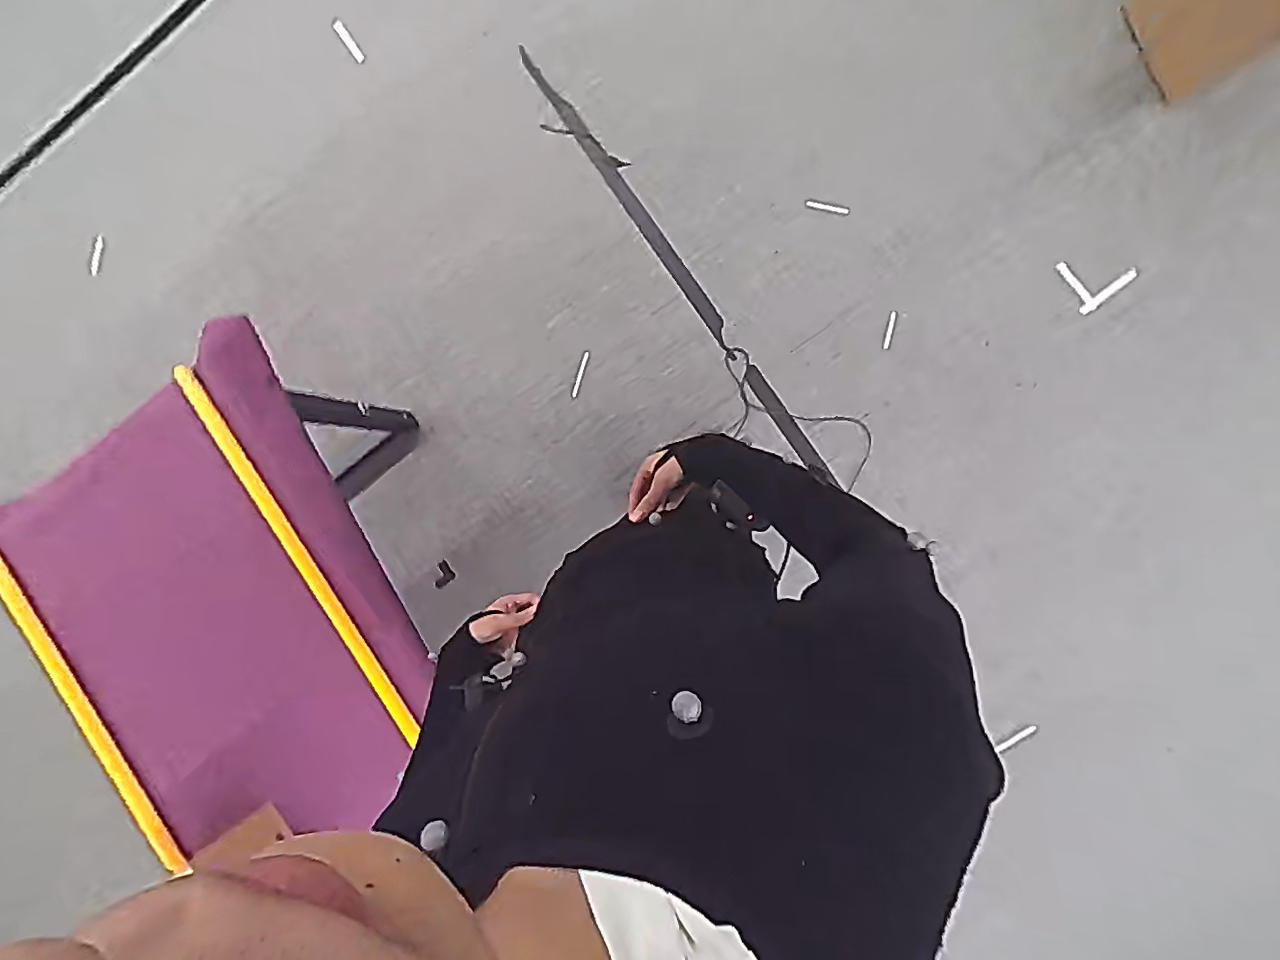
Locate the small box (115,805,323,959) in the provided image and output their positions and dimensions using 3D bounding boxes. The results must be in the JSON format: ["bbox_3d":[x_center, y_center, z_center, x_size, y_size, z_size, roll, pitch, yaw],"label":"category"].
[{"bbox_3d":[-0.679,0.692,0.893,0.179,0.176,0.168,-37,88,4],"label":"small box"}]
